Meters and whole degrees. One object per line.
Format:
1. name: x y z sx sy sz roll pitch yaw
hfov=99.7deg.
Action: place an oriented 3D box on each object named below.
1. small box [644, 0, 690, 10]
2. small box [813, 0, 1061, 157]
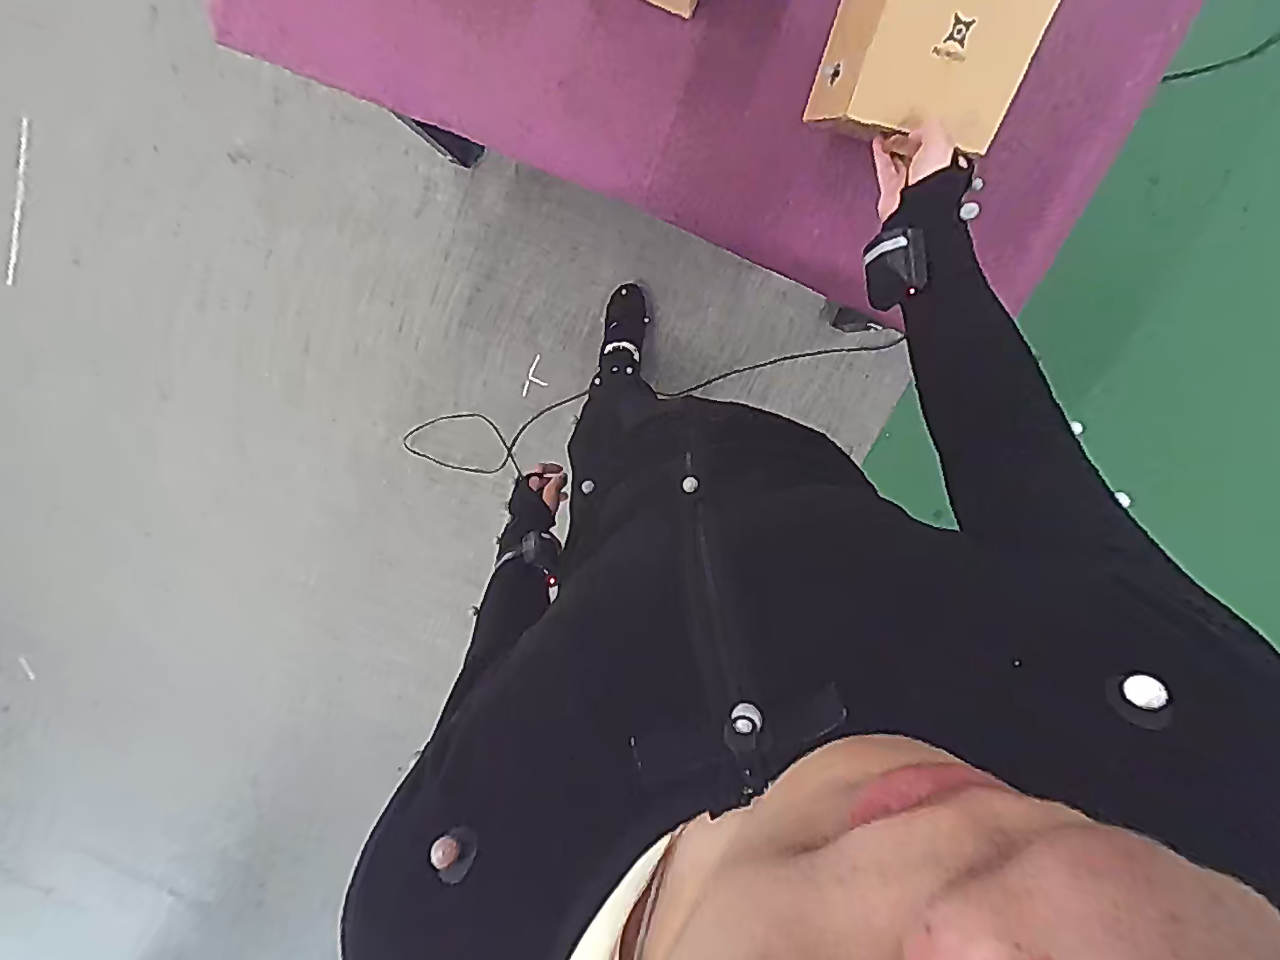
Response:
1. small box: 0.013 -0.699 0.621 0.179 0.176 0.168 22 104 -1
2. small box: 0.308 -0.475 0.592 0.168 0.176 0.179 11 121 -7
